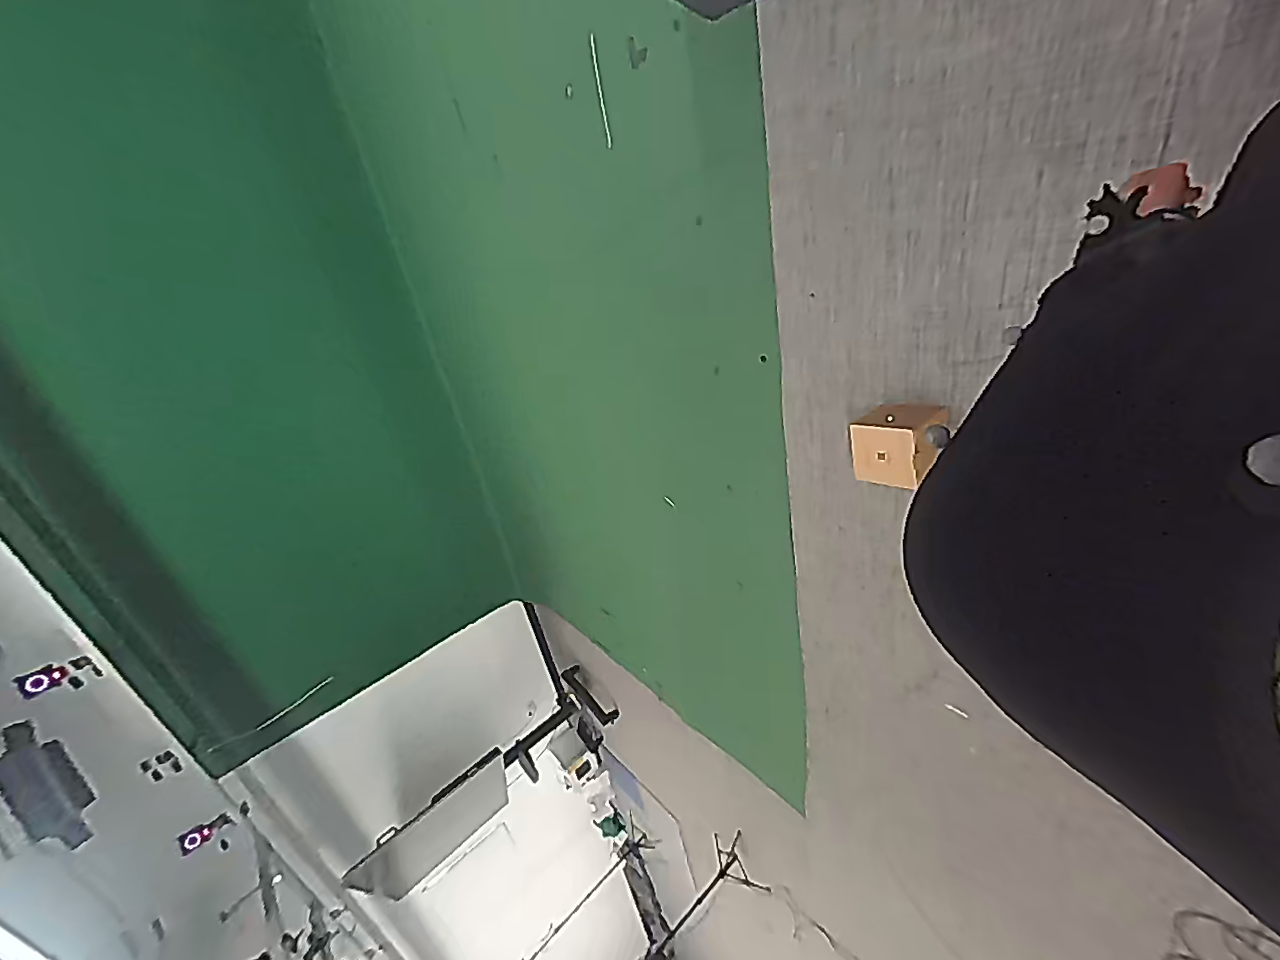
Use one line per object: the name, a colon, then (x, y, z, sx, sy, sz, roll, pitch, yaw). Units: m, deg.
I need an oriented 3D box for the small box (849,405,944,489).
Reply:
small box: (0.689, -0.094, 1.442, 0.179, 0.176, 0.168, 15, 125, 51)
